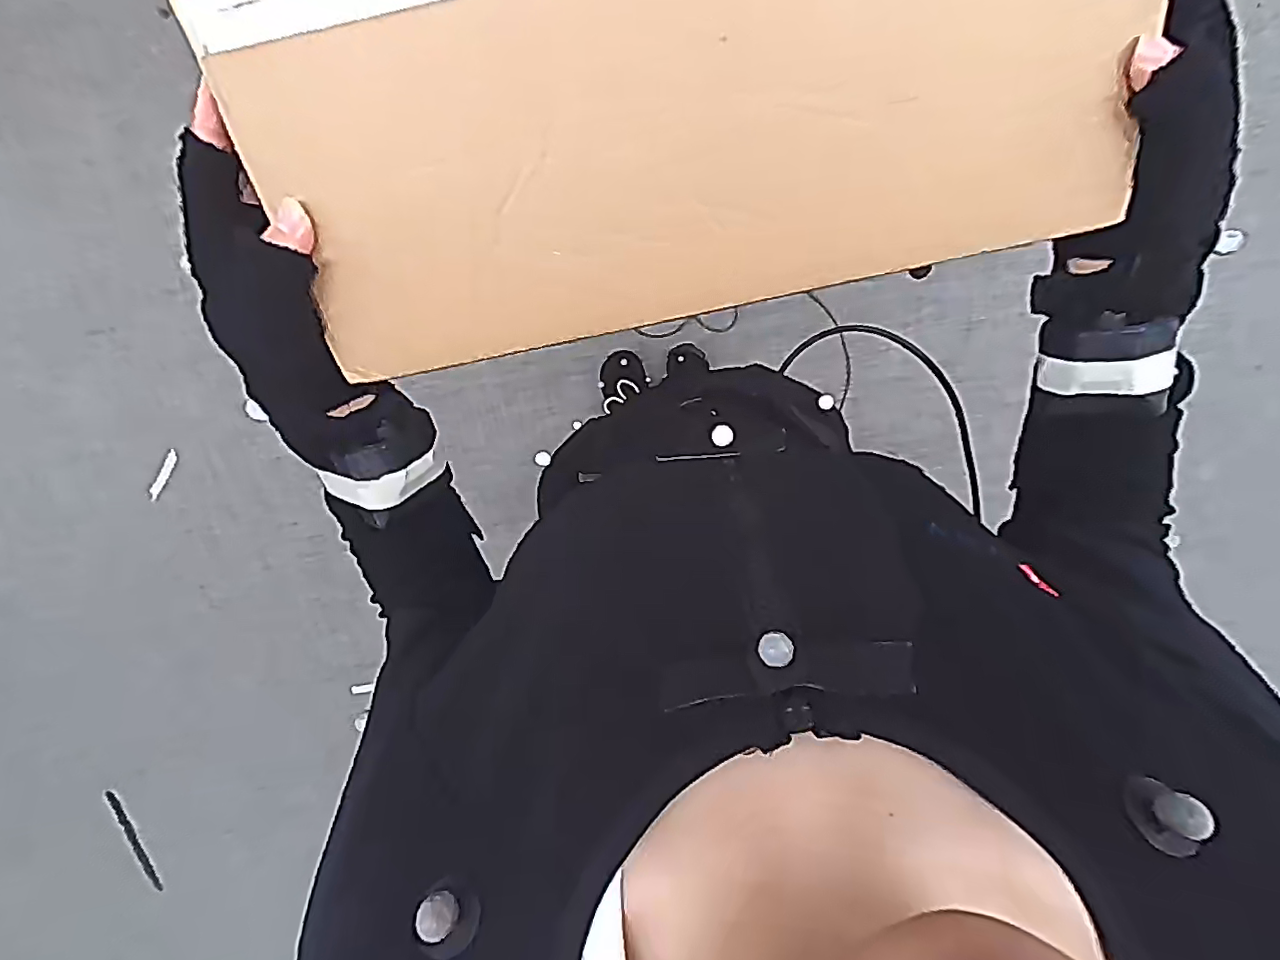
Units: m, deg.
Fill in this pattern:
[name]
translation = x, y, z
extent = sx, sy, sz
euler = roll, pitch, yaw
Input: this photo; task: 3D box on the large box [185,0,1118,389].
[large box]
translation = 0.003, -0.291, 0.357
extent = 0.408, 0.320, 0.320
euler = -11, 116, 4
